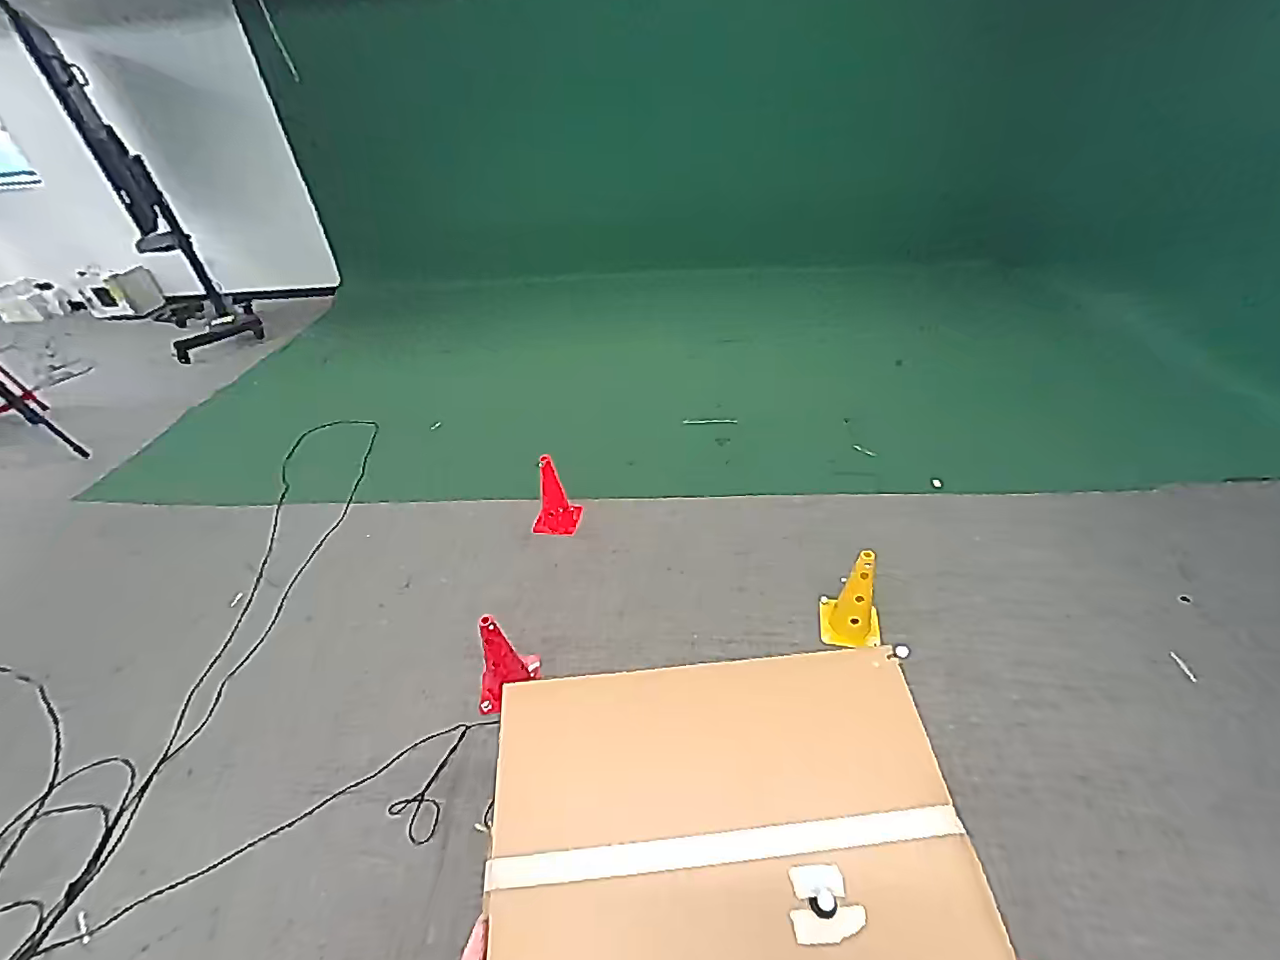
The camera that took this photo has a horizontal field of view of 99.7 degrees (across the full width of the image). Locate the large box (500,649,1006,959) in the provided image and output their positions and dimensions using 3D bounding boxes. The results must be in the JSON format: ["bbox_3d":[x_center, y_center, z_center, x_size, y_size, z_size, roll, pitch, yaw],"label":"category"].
[{"bbox_3d":[0.080,0.410,0.588,0.408,0.320,0.320,-5,52,-3],"label":"large box"}]

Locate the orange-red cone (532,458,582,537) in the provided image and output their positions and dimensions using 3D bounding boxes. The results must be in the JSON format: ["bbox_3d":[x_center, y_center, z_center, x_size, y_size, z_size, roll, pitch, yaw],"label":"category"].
[{"bbox_3d":[-0.394,0.058,2.387,0.199,0.360,0.198,2,38,12],"label":"orange-red cone"}]
